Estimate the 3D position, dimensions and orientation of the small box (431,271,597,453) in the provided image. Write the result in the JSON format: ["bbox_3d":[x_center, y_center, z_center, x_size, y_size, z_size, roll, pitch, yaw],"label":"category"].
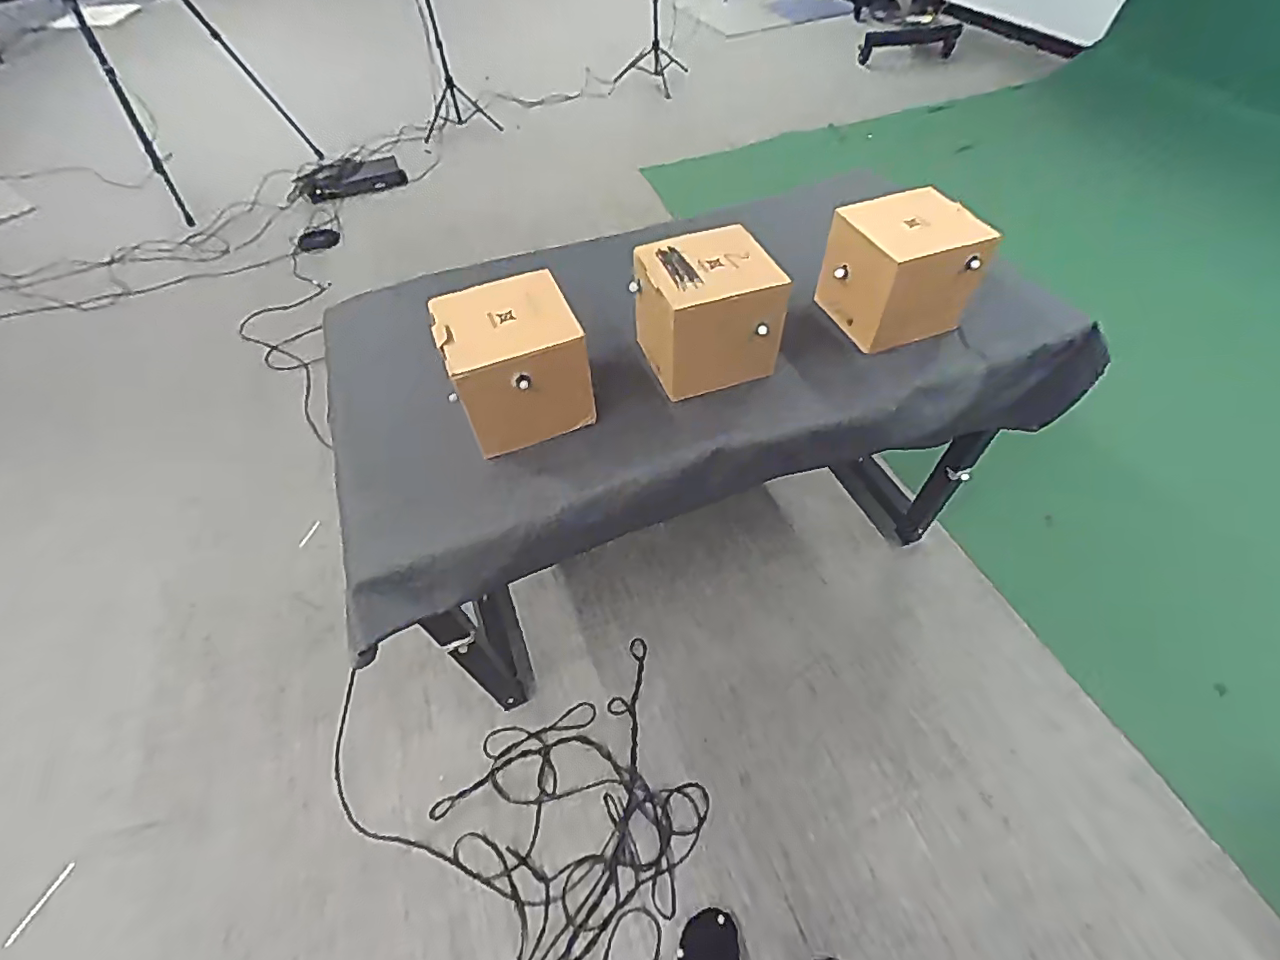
[{"bbox_3d":[-0.174,-0.163,0.775,0.179,0.176,0.168,-20,56,-12],"label":"small box"}]

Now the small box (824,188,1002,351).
[{"bbox_3d":[0.416,-0.331,0.865,0.179,0.176,0.168,-17,54,-10],"label":"small box"}]
